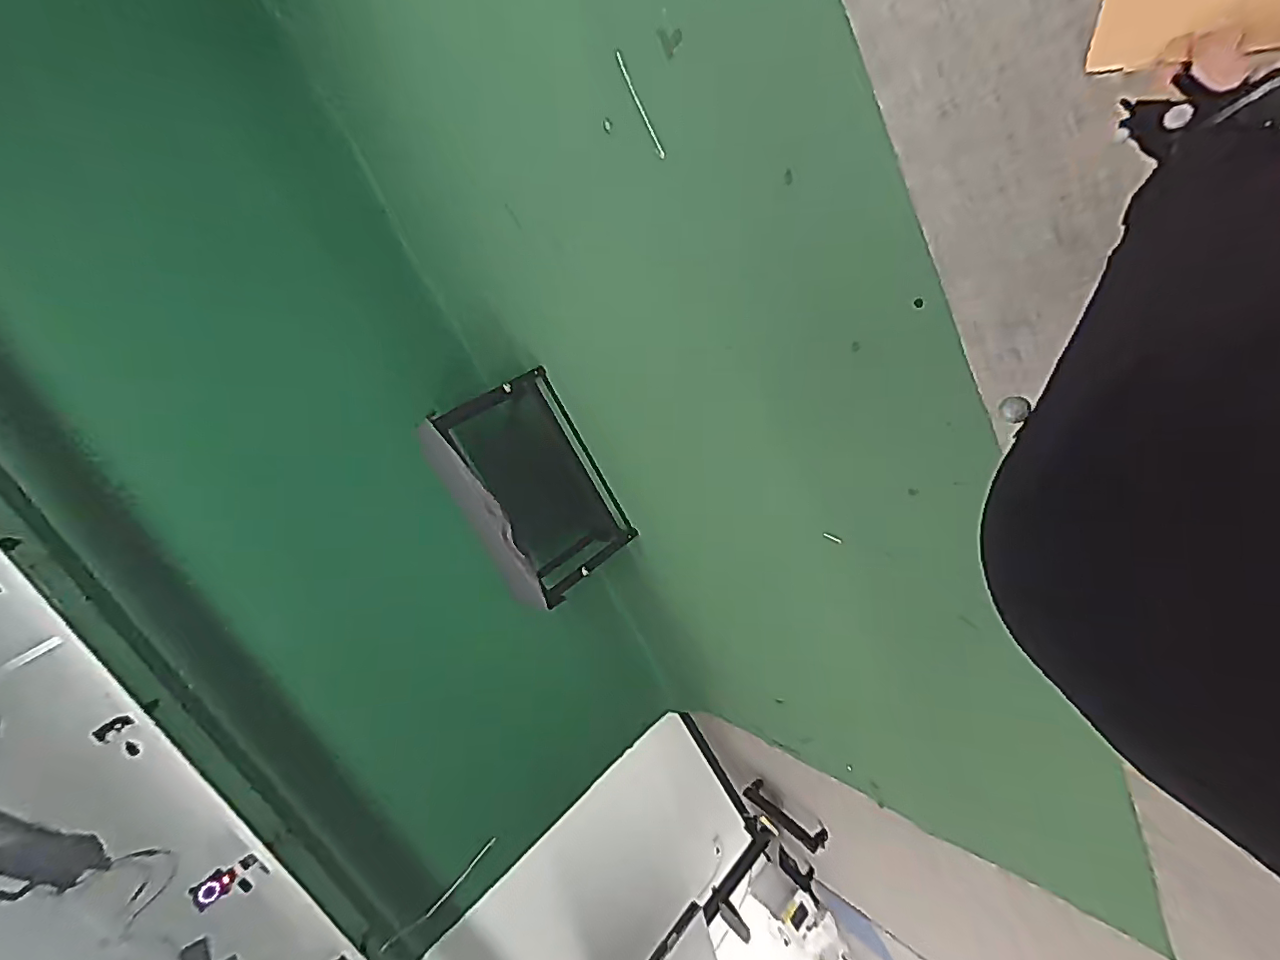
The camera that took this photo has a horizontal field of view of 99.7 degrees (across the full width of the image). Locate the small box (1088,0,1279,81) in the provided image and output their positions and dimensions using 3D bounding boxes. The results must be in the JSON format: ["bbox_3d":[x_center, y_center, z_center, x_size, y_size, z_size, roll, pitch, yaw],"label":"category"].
[{"bbox_3d":[0.527,-0.468,0.466,0.168,0.179,0.176,23,135,40],"label":"small box"}]
